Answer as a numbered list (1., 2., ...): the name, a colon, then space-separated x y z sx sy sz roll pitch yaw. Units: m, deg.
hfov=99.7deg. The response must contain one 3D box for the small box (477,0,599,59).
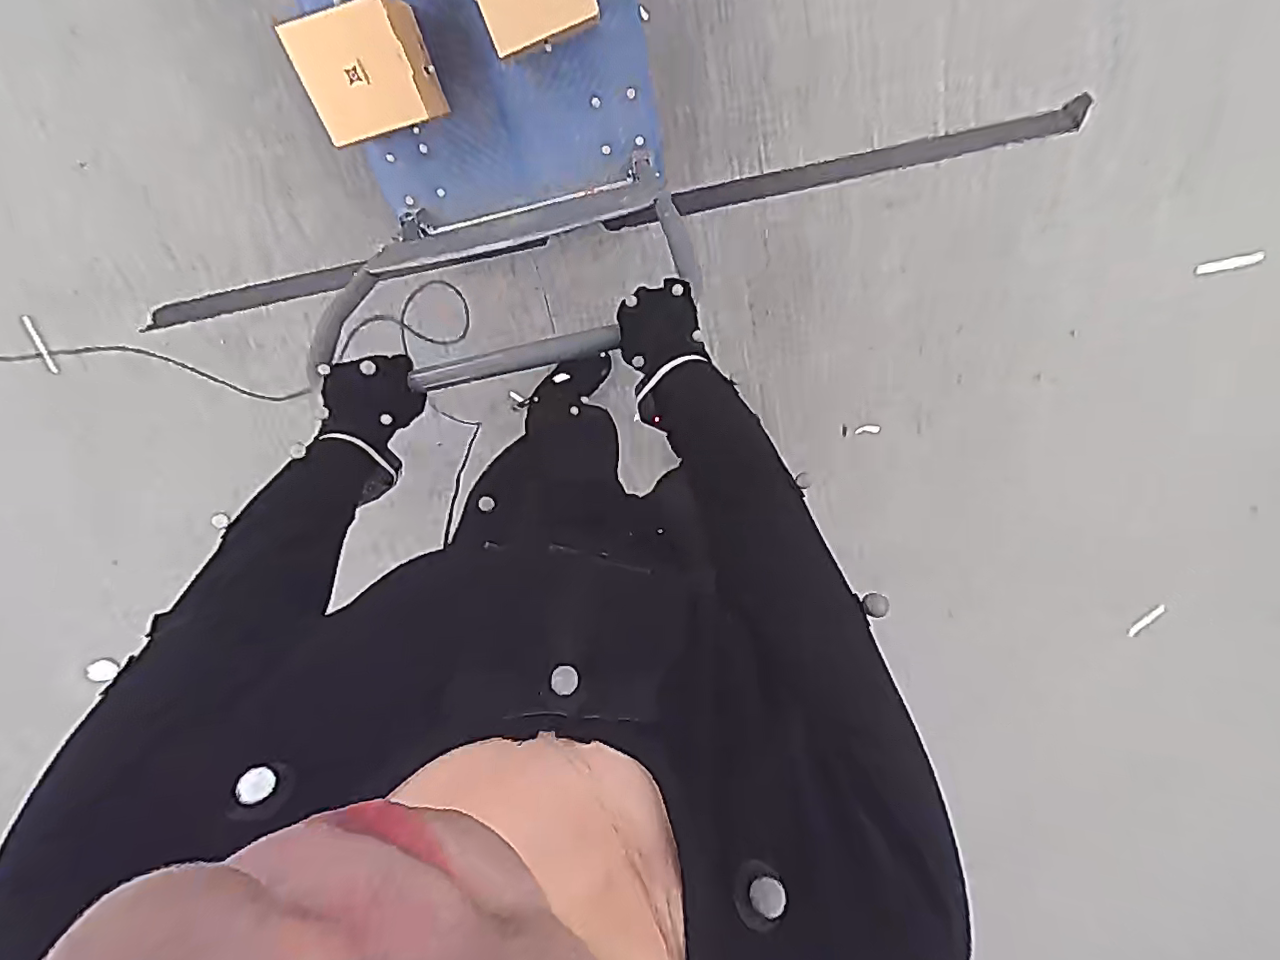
1. small box: -0.173 -0.807 0.870 0.179 0.176 0.168 -18 126 9

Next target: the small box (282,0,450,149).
1. small box: -0.456 -0.693 0.934 0.179 0.176 0.168 -15 125 5
